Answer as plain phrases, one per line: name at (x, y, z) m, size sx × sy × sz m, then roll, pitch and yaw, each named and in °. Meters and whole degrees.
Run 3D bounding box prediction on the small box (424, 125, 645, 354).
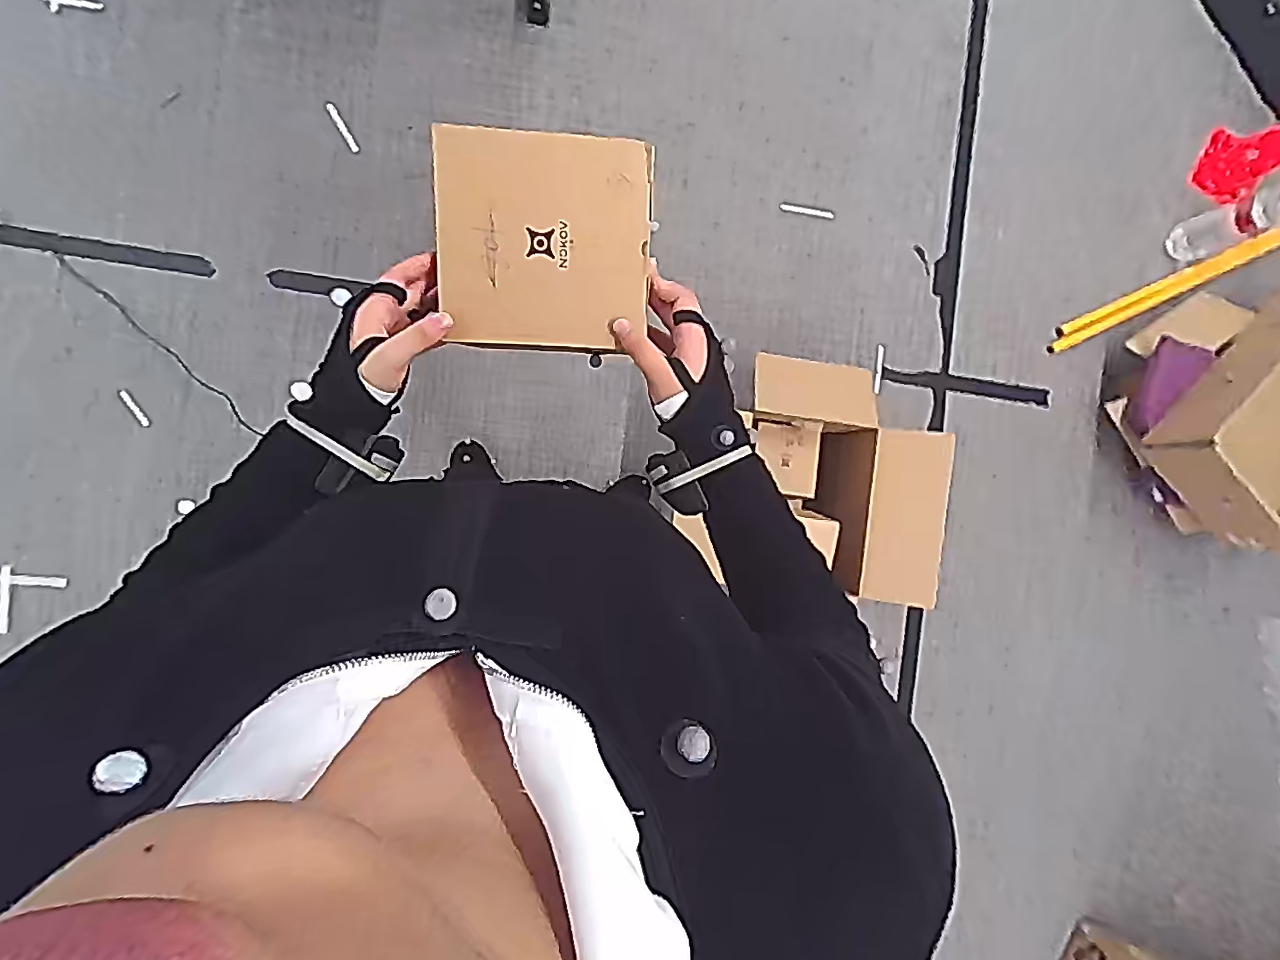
small box at (-0.091, -0.210, 0.520) m, size 0.179 × 0.176 × 0.168 m, roll 0°, pitch 101°, yaw -4°
